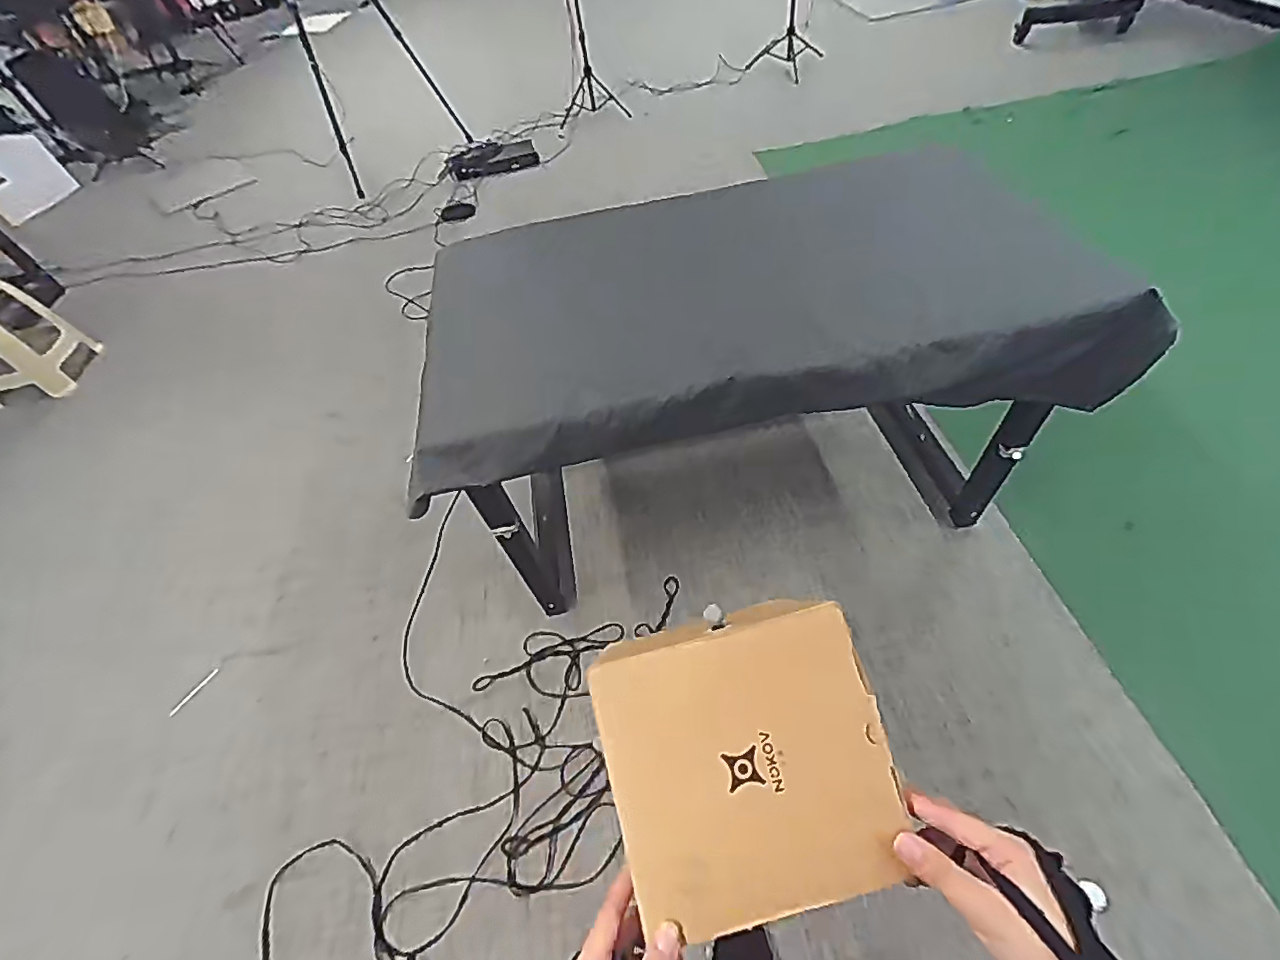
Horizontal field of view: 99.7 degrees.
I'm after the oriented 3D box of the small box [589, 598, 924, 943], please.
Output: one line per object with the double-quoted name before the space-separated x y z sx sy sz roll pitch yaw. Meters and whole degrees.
"small box" 0.069 0.193 0.414 0.179 0.176 0.168 -13 77 -3
